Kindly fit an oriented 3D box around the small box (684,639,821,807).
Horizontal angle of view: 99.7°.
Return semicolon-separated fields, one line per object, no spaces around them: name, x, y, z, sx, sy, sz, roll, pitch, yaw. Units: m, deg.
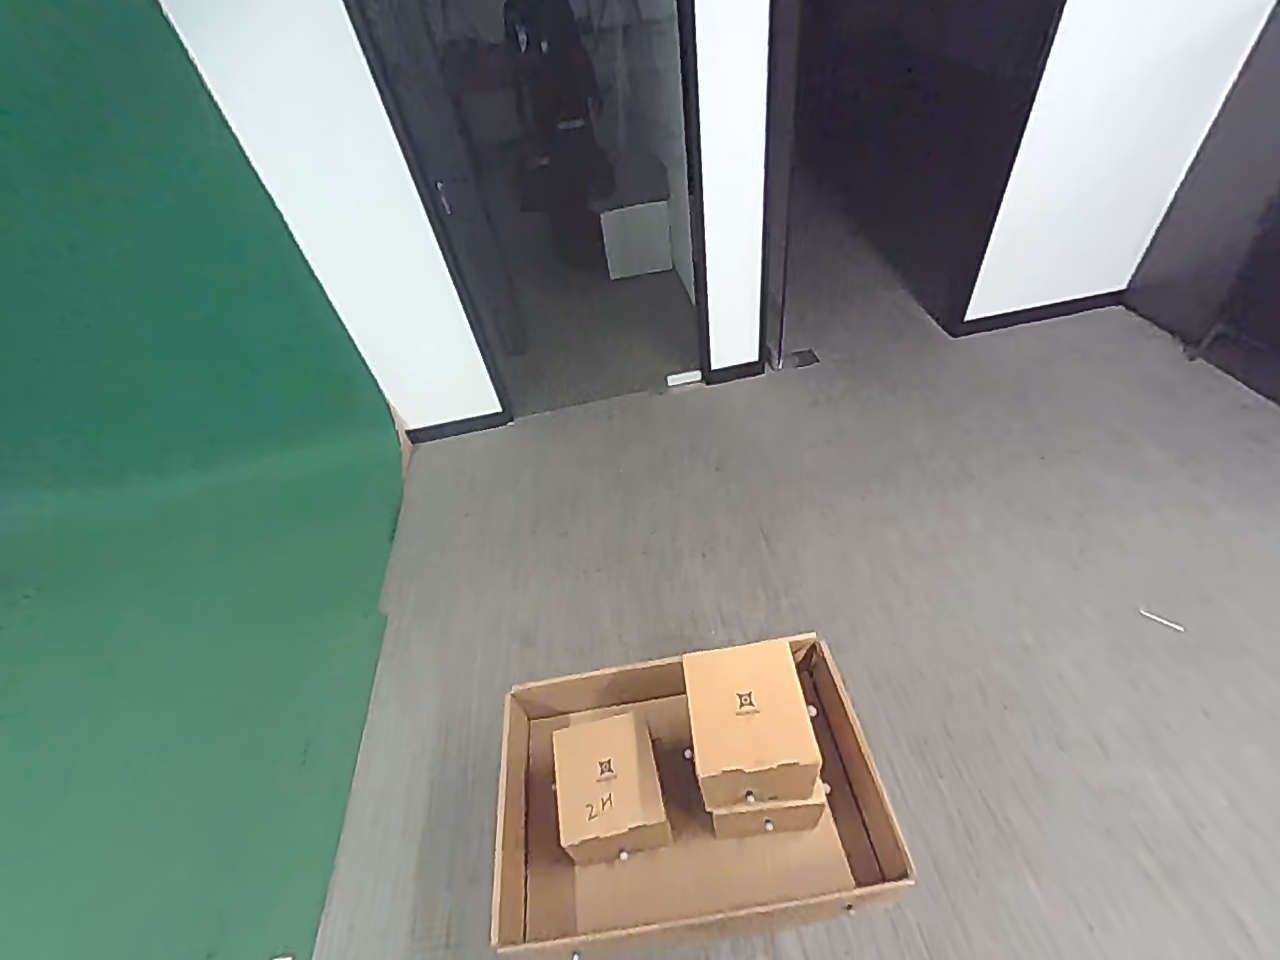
small box;0.161;0.370;0.823;0.168;0.176;0.179;-9;44;3
